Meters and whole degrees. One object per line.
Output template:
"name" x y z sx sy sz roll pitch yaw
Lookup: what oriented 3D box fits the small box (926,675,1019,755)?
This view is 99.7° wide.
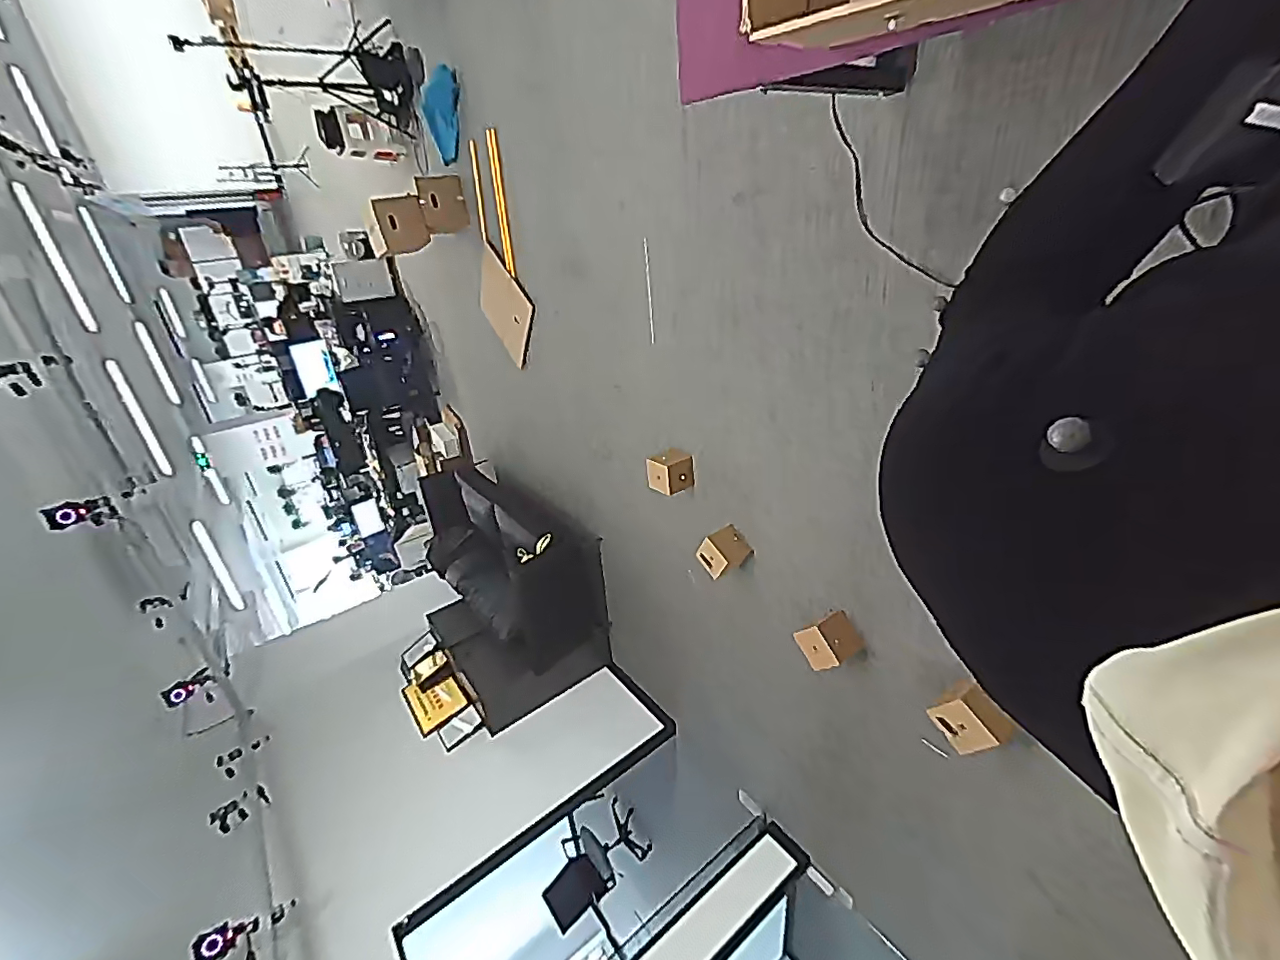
"small box" 1.120 0.787 1.818 0.168 0.176 0.179 53 146 22

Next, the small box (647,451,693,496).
"small box" 0.159 -0.039 2.787 0.179 0.176 0.168 24 128 49

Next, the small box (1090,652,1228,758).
"small box" 1.318 0.570 1.374 0.179 0.176 0.168 57 148 20
